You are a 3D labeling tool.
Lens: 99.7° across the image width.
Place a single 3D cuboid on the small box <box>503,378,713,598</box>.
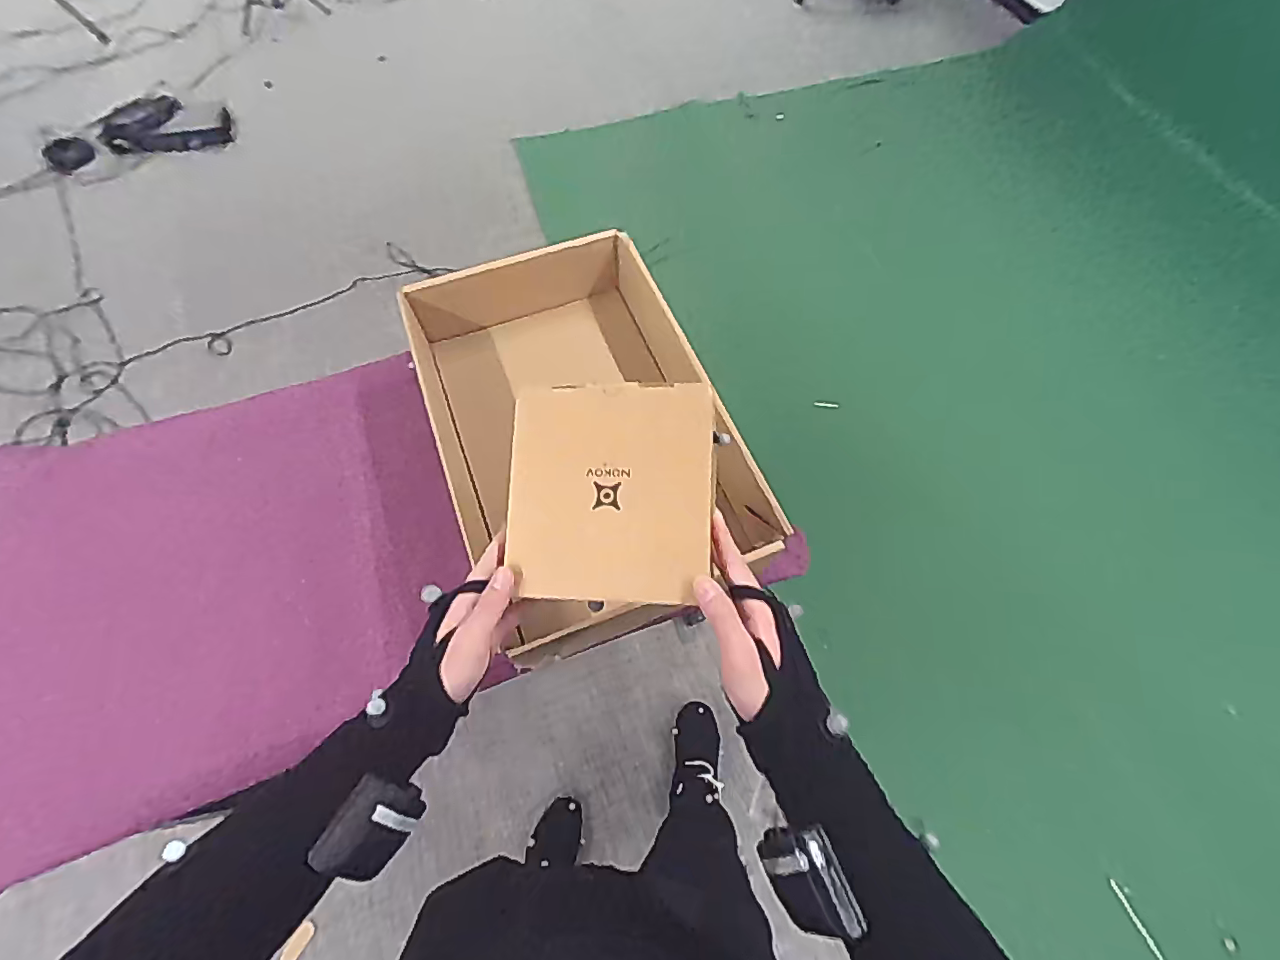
[{"bbox_3d":[-0.017,0.015,0.513,0.168,0.176,0.179,0,81,9],"label":"small box"}]
